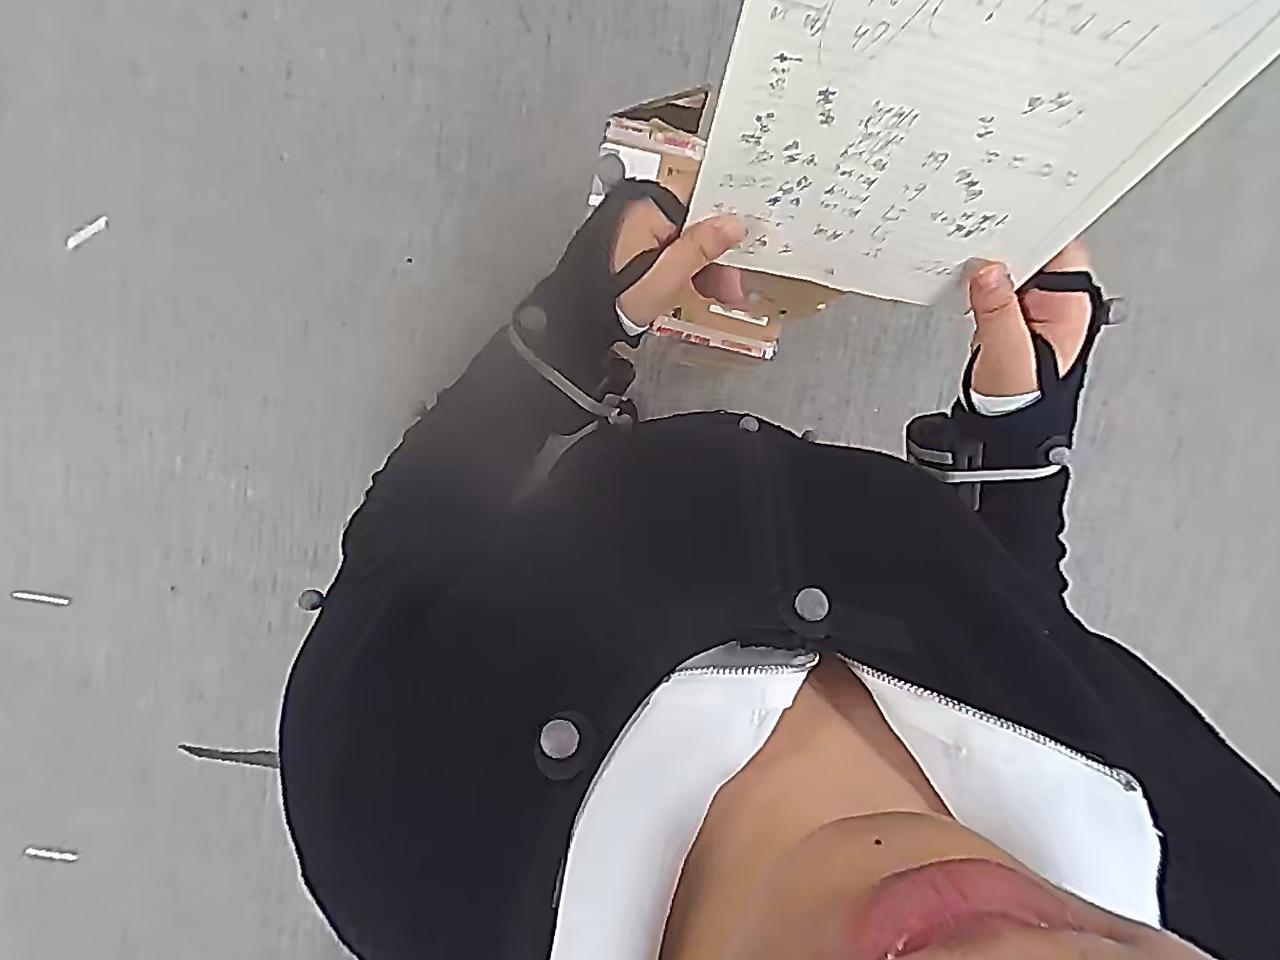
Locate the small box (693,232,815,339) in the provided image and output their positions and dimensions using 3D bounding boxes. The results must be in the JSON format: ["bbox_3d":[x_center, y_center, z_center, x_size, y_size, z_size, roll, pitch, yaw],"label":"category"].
[{"bbox_3d":[0.198,-0.335,0.895,0.179,0.176,0.168,12,98,-4],"label":"small box"}]

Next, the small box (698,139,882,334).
[{"bbox_3d":[0.186,-0.311,0.732,0.168,0.176,0.179,15,99,-5],"label":"small box"}]
